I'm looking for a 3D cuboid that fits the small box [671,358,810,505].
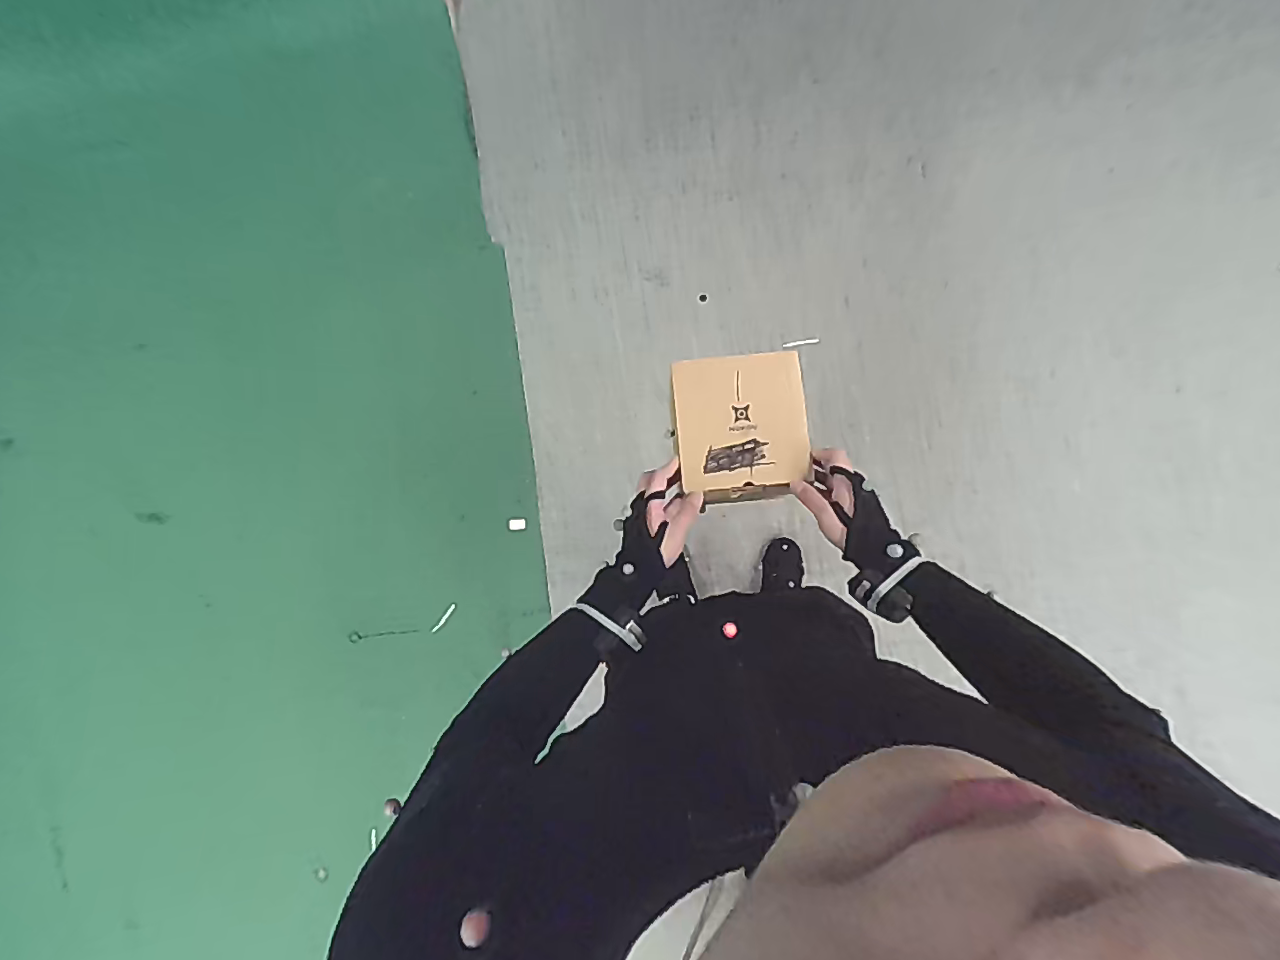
[{"bbox_3d":[0.132,-0.058,0.775,0.168,0.176,0.179,-4,81,1],"label":"small box"}]
